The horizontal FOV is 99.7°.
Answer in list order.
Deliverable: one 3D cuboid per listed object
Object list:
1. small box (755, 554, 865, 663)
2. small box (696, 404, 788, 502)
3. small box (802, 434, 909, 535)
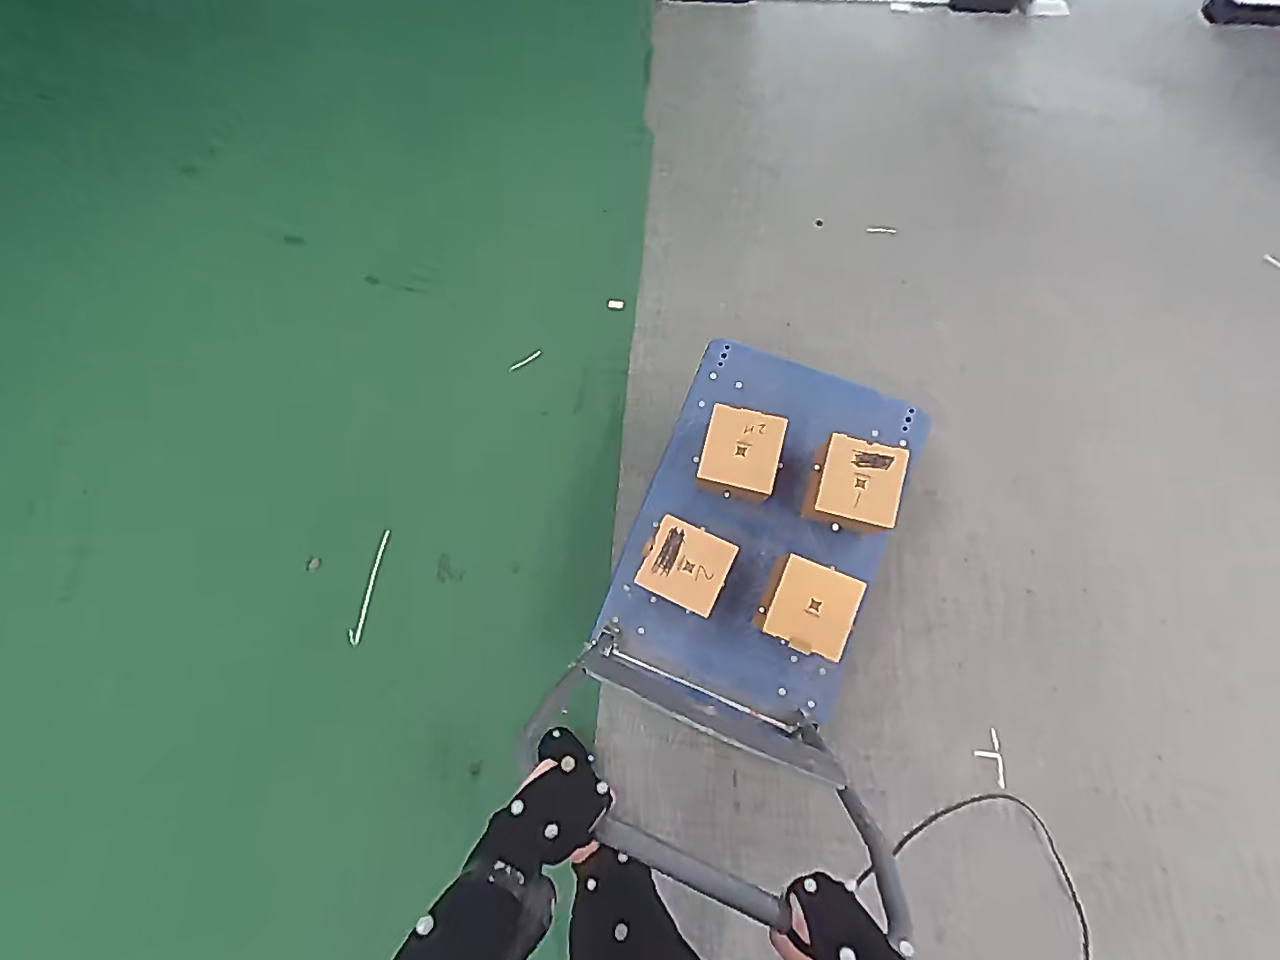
[{"bbox_3d":[0.365,0.277,1.194,0.168,0.176,0.179,22,83,8],"label":"small box"},{"bbox_3d":[0.232,-0.055,1.261,0.168,0.176,0.179,14,82,7],"label":"small box"},{"bbox_3d":[0.480,0.017,1.227,0.168,0.176,0.179,15,83,8],"label":"small box"}]
